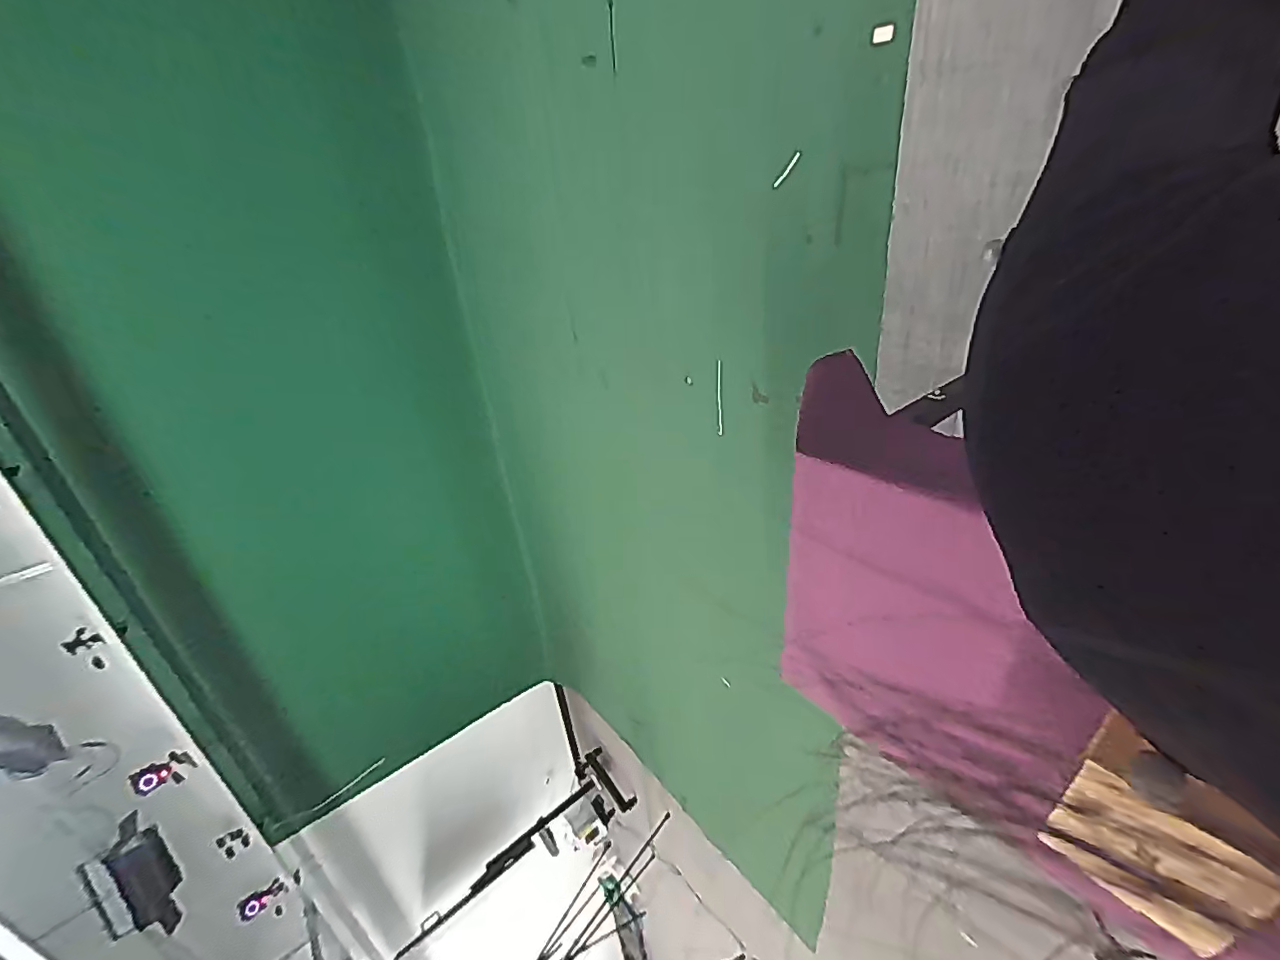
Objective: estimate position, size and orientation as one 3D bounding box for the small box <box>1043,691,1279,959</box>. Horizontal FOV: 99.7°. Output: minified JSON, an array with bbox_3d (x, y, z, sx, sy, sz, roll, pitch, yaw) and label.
[{"bbox_3d":[0.624,0.393,0.634,0.168,0.176,0.179,31,134,42],"label":"small box"}]
